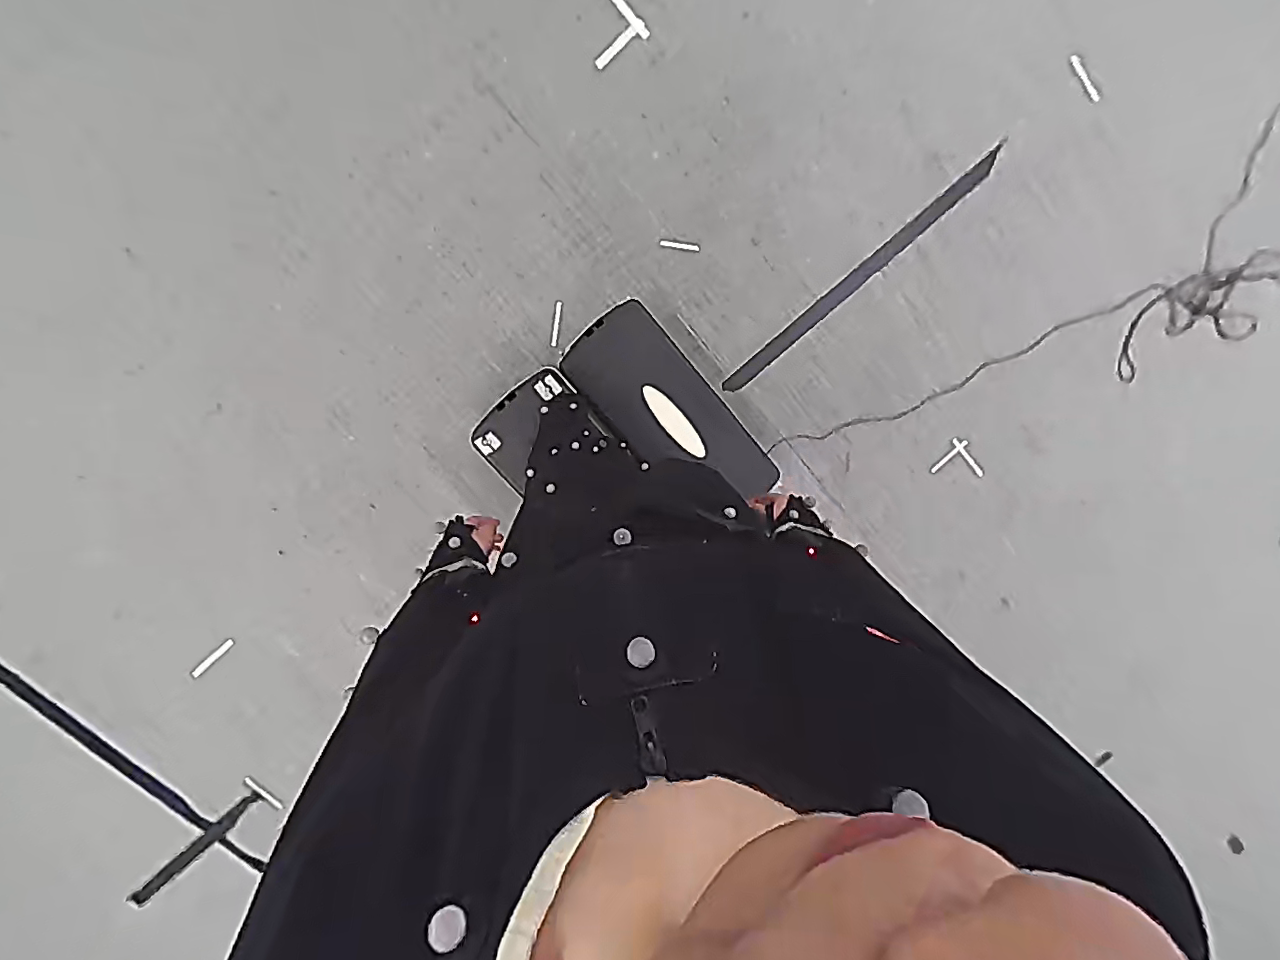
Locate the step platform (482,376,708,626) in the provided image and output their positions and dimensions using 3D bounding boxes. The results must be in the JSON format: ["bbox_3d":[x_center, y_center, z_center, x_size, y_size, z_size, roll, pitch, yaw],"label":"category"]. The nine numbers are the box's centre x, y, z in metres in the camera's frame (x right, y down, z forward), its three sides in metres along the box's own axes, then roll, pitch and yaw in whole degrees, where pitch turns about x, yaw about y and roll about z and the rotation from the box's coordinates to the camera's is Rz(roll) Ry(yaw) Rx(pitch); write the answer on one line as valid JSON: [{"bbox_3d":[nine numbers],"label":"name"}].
[{"bbox_3d":[-0.113,0.059,1.461,0.286,0.204,0.684,-37,98,1],"label":"step platform"}]
